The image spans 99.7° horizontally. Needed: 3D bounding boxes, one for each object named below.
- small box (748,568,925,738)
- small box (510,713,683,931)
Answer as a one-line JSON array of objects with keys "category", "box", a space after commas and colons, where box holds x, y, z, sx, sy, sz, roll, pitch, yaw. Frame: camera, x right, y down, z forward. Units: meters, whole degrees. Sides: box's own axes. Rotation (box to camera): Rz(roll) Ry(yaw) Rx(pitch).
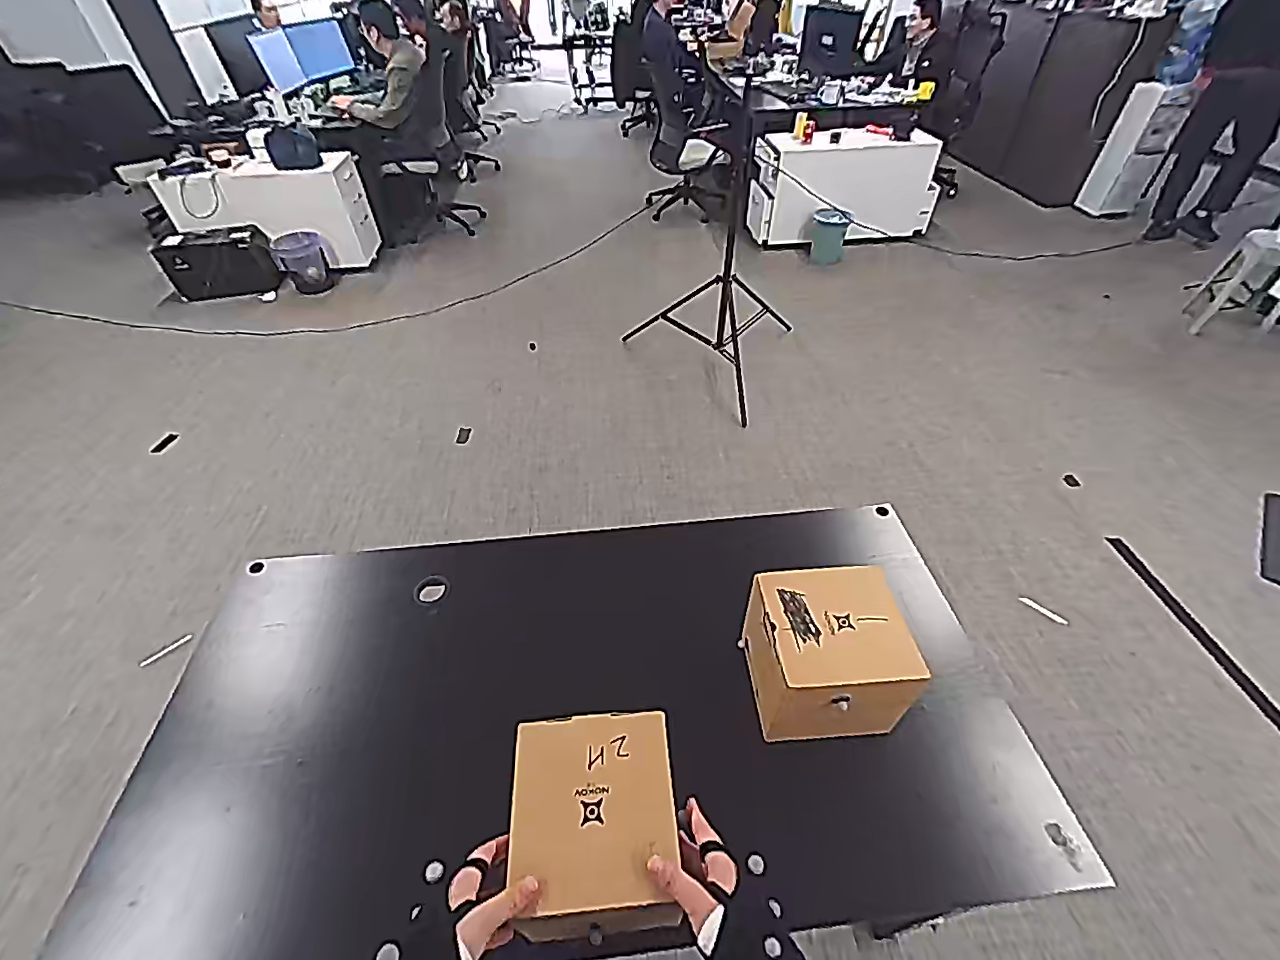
[{"category": "small box", "box": [0.253, 0.243, 0.753, 0.179, 0.176, 0.168, -3, 44, -2]}, {"category": "small box", "box": [-0.043, 0.390, 0.613, 0.168, 0.176, 0.179, -4, 44, -3]}]
